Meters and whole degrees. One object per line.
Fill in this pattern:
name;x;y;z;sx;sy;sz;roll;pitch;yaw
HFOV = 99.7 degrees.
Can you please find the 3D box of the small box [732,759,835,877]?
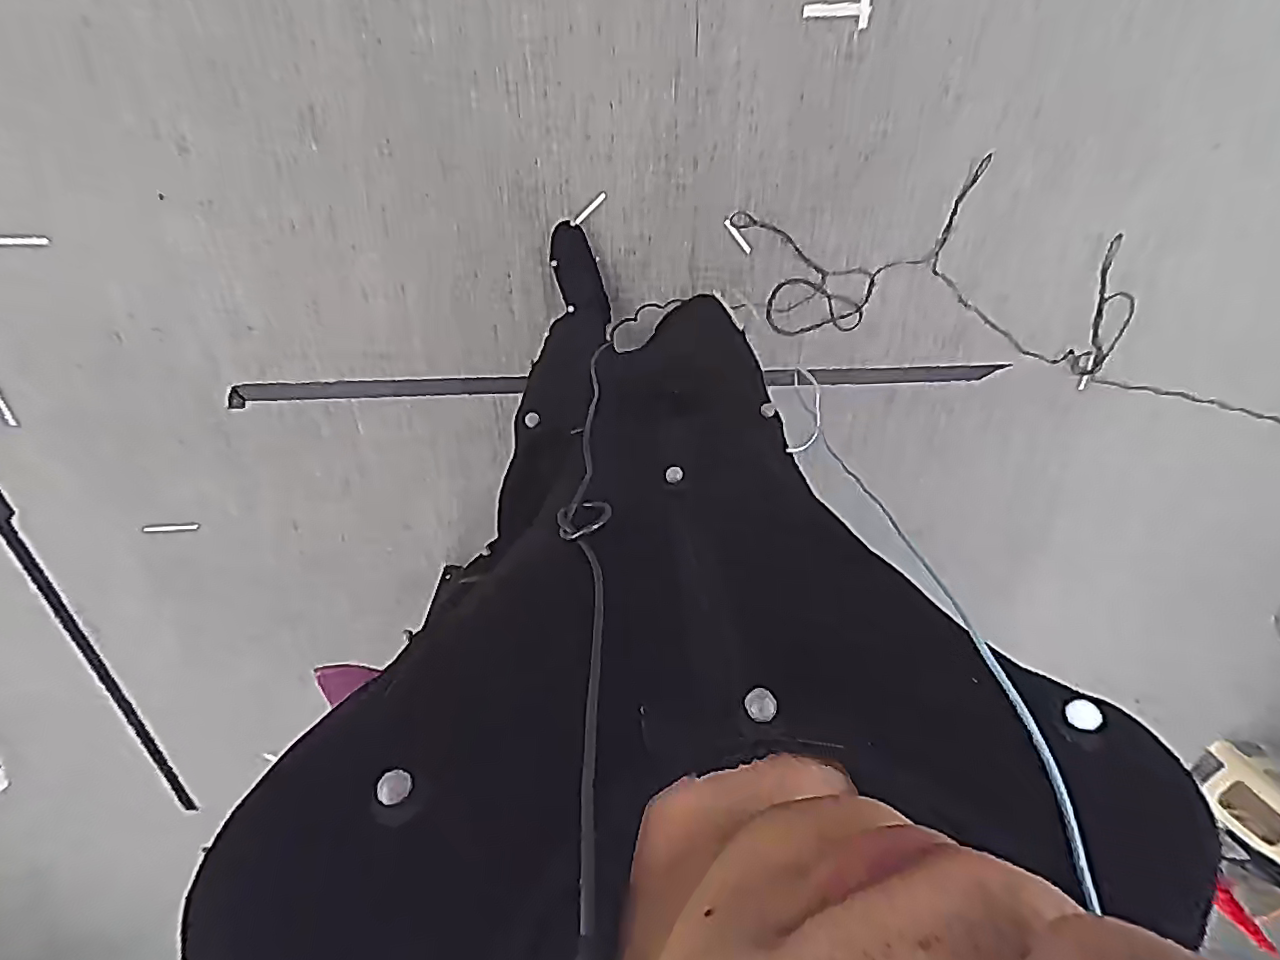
small box;0.316;0.767;1.238;0.179;0.176;0.168;-1;118;-5
